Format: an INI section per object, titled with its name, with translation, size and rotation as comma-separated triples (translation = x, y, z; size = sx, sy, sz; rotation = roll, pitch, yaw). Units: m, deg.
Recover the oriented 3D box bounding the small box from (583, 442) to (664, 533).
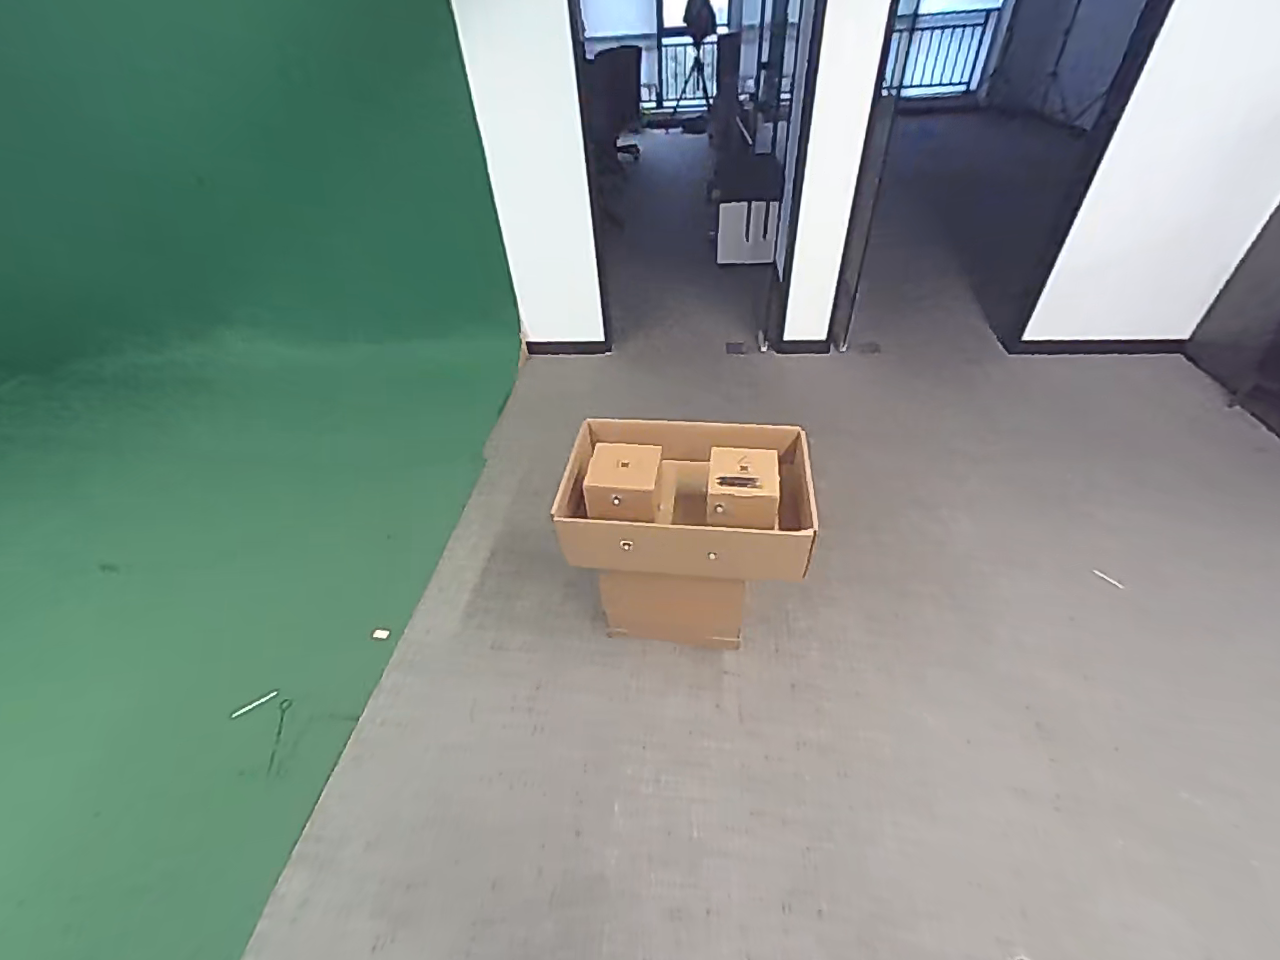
[small box]
translation = -0.037, 0.021, 1.401
size = 0.179, 0.176, 0.168
rotation = 5, 44, 9
